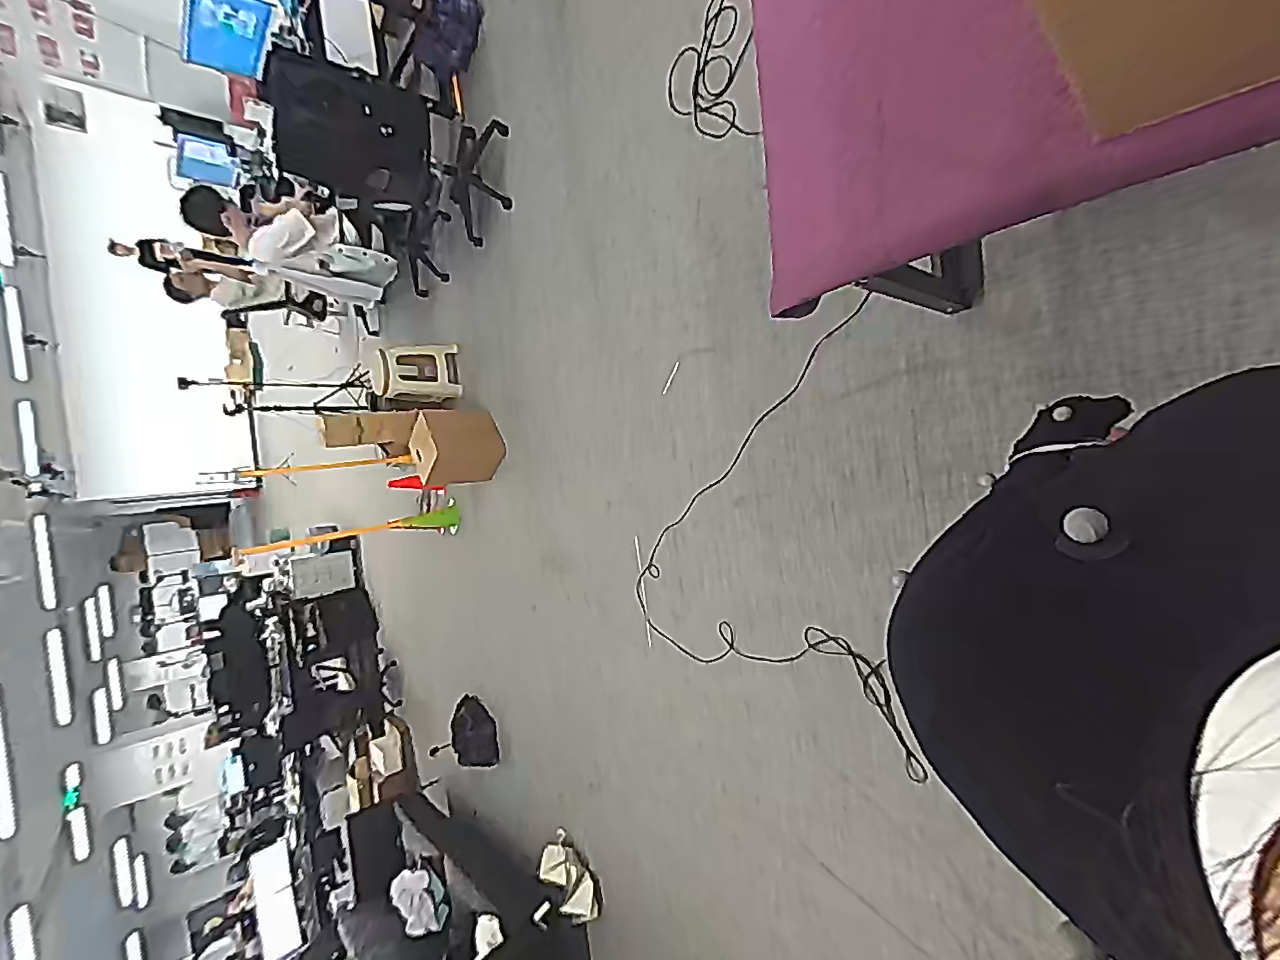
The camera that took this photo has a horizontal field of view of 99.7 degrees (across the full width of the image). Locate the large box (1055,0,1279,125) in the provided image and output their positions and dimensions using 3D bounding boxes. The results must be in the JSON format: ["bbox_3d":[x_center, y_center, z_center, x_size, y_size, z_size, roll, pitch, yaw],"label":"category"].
[{"bbox_3d":[0.486,-0.566,0.369,0.320,0.320,0.408,0,95,48],"label":"large box"}]
